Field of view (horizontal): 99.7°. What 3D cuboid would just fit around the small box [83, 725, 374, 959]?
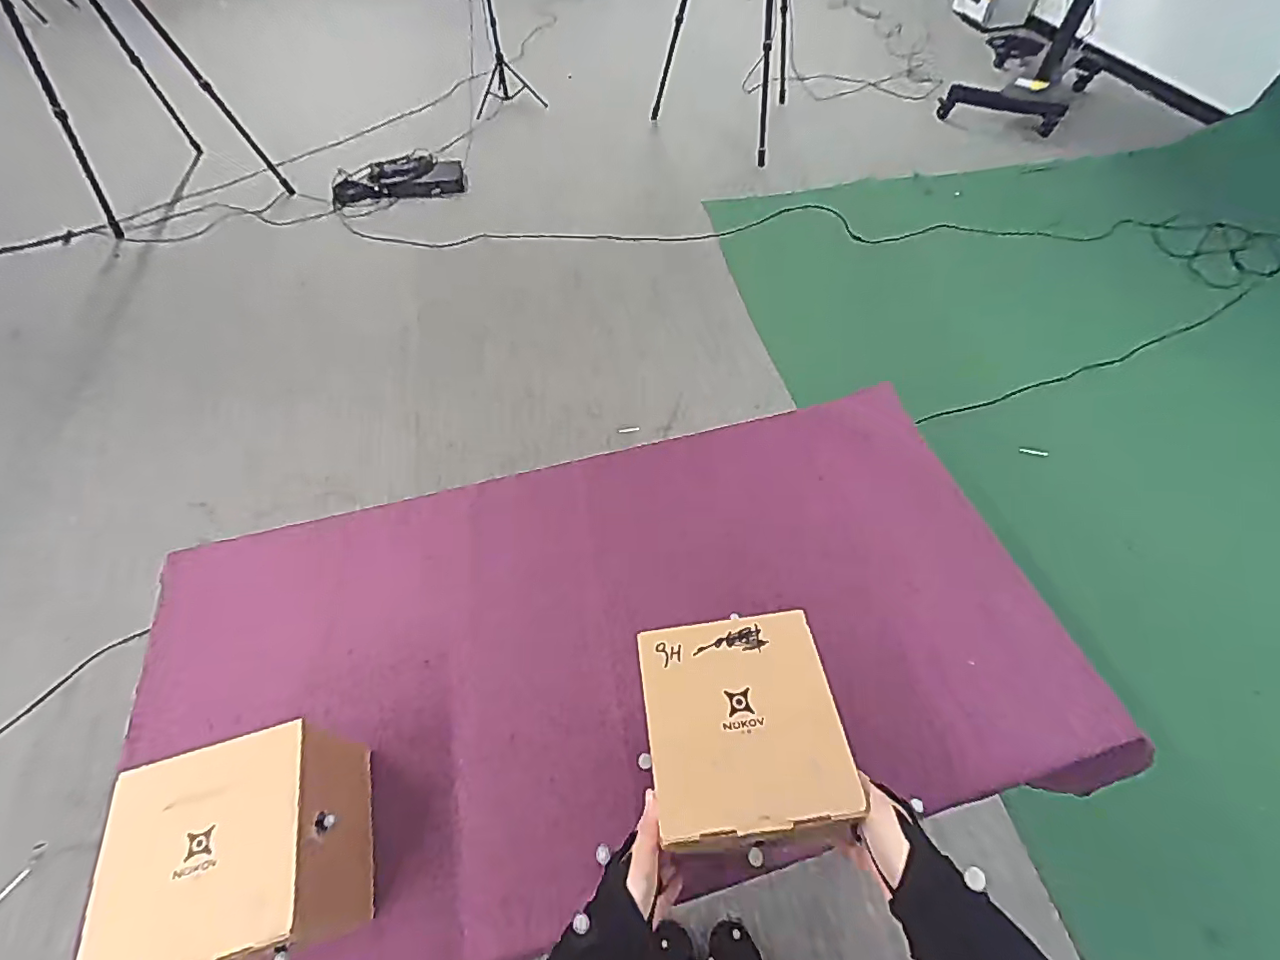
[{"bbox_3d":[-0.380,0.372,0.539,0.168,0.176,0.179,-14,55,-10],"label":"small box"}]

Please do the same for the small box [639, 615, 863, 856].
[{"bbox_3d":[0.095,0.258,0.537,0.168,0.176,0.179,-8,51,-1],"label":"small box"}]
